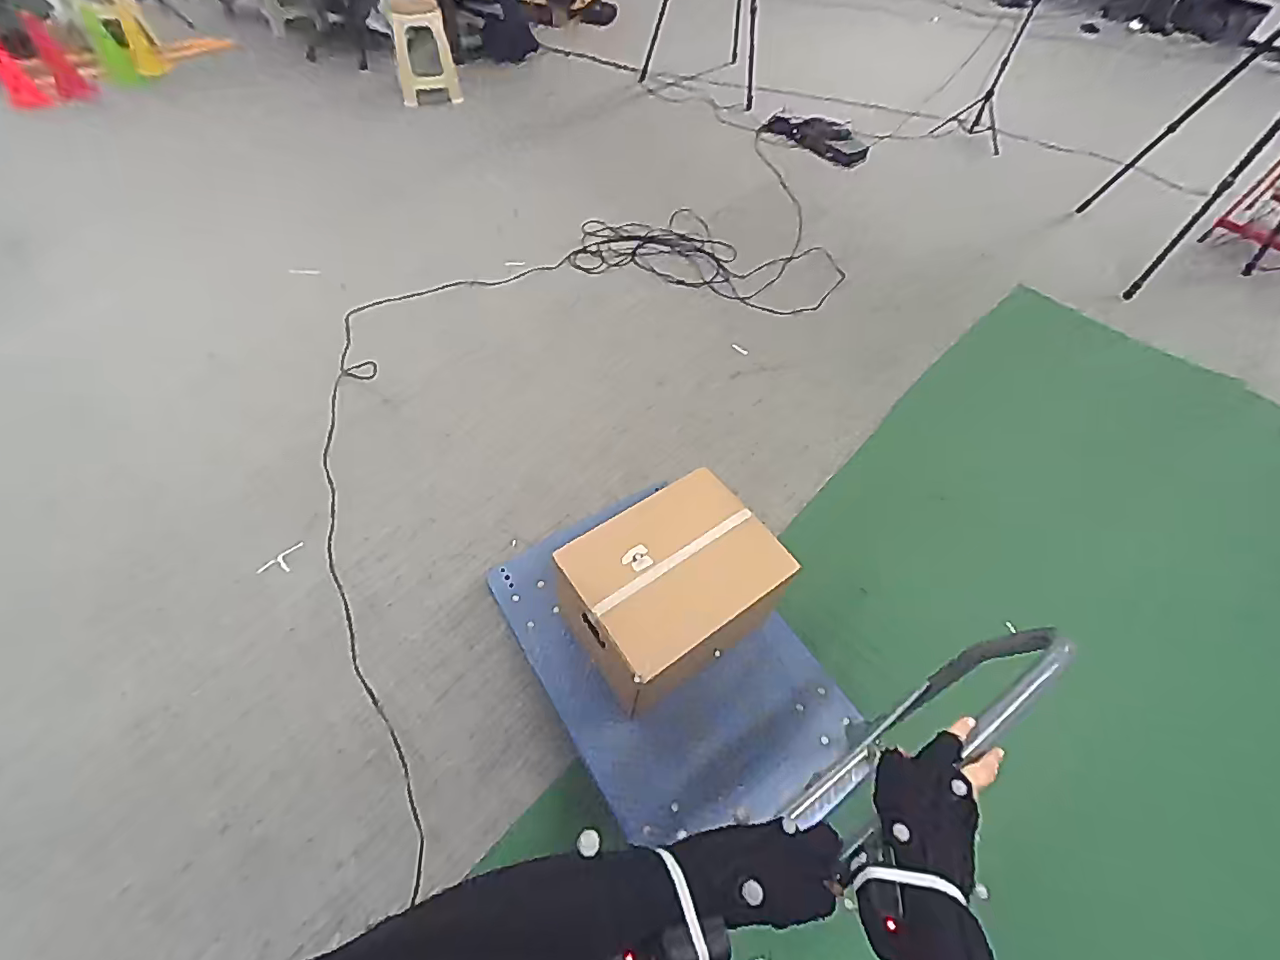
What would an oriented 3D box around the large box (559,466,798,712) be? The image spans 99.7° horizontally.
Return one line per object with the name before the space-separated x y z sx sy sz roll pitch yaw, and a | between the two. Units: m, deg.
large box | 0.073 0.244 1.219 0.408 0.320 0.320 -30 62 -22
